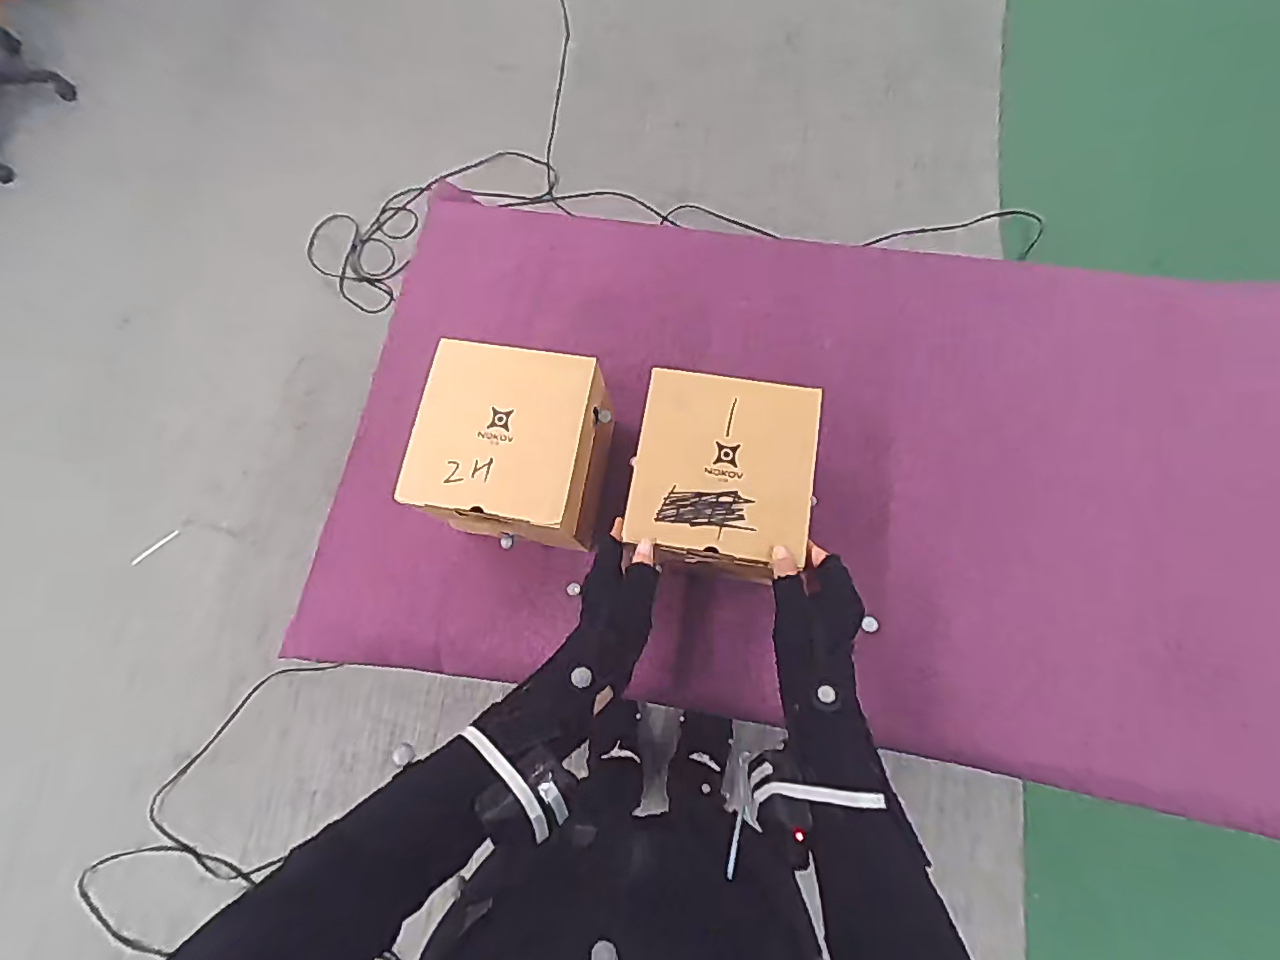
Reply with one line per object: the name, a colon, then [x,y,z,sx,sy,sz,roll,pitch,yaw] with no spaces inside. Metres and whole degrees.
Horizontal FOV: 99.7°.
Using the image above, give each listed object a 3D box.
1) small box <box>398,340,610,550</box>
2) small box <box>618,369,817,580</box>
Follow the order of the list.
small box: [-0.133,-0.030,0.605,0.168,0.176,0.179,9,76,6]
small box: [0.080,0.006,0.581,0.168,0.176,0.179,9,75,6]
